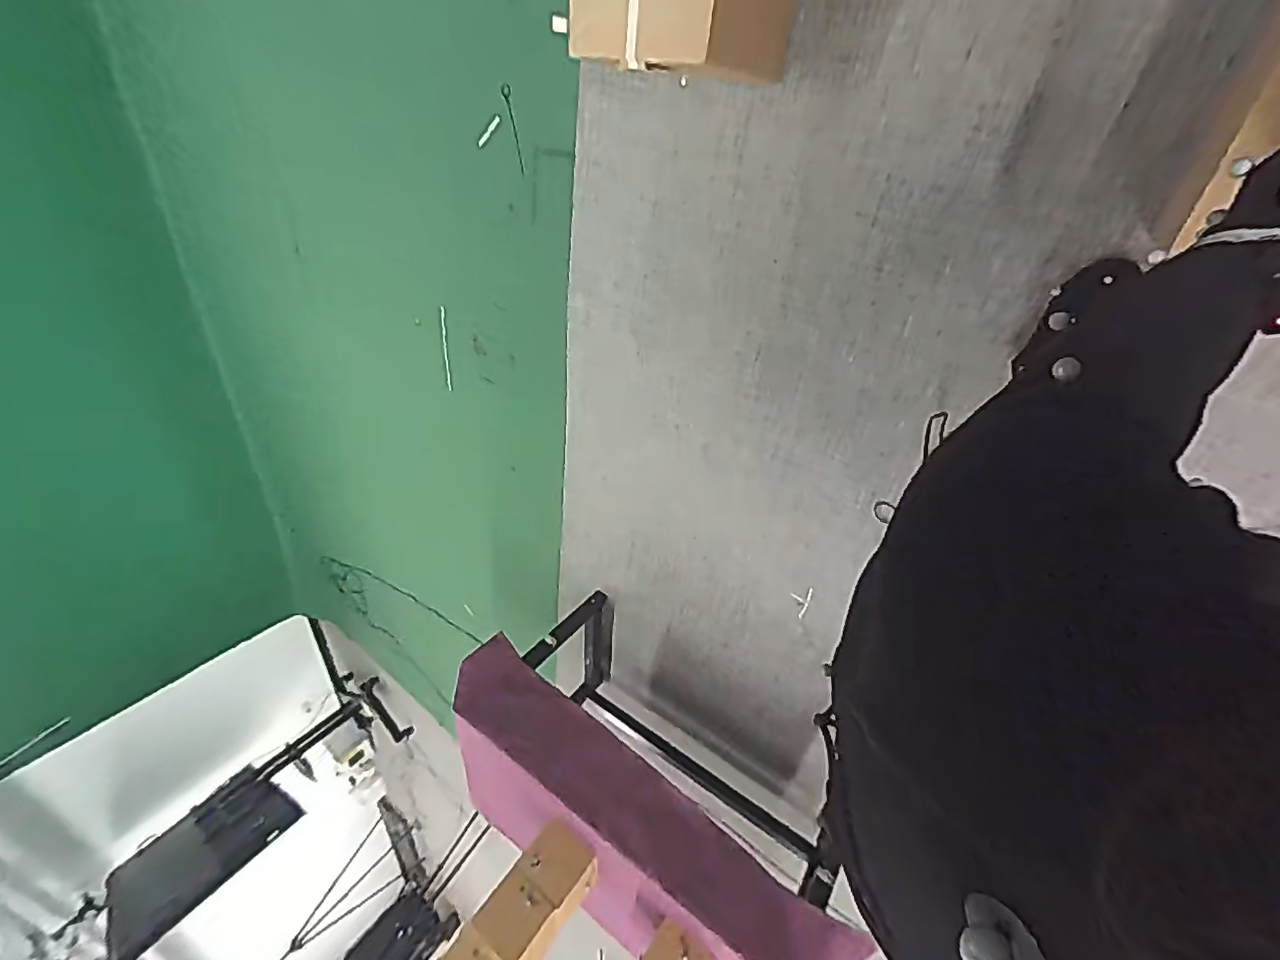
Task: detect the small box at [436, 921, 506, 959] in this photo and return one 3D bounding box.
[{"bbox_3d":[-0.425,1.270,1.351,0.168,0.176,0.179,21,126,28],"label":"small box"}]

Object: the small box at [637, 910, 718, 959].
[{"bbox_3d":[0.084,1.275,1.398,0.168,0.176,0.179,26,128,26],"label":"small box"}]

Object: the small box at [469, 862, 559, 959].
[{"bbox_3d":[-0.334,1.195,1.462,0.168,0.176,0.179,23,127,27],"label":"small box"}]

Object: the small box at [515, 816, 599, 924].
[{"bbox_3d":[-0.240,1.123,1.575,0.179,0.176,0.168,24,129,27],"label":"small box"}]

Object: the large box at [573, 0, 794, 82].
[{"bbox_3d":[0.098,-0.989,0.980,0.320,0.320,0.408,26,128,26],"label":"large box"}]
